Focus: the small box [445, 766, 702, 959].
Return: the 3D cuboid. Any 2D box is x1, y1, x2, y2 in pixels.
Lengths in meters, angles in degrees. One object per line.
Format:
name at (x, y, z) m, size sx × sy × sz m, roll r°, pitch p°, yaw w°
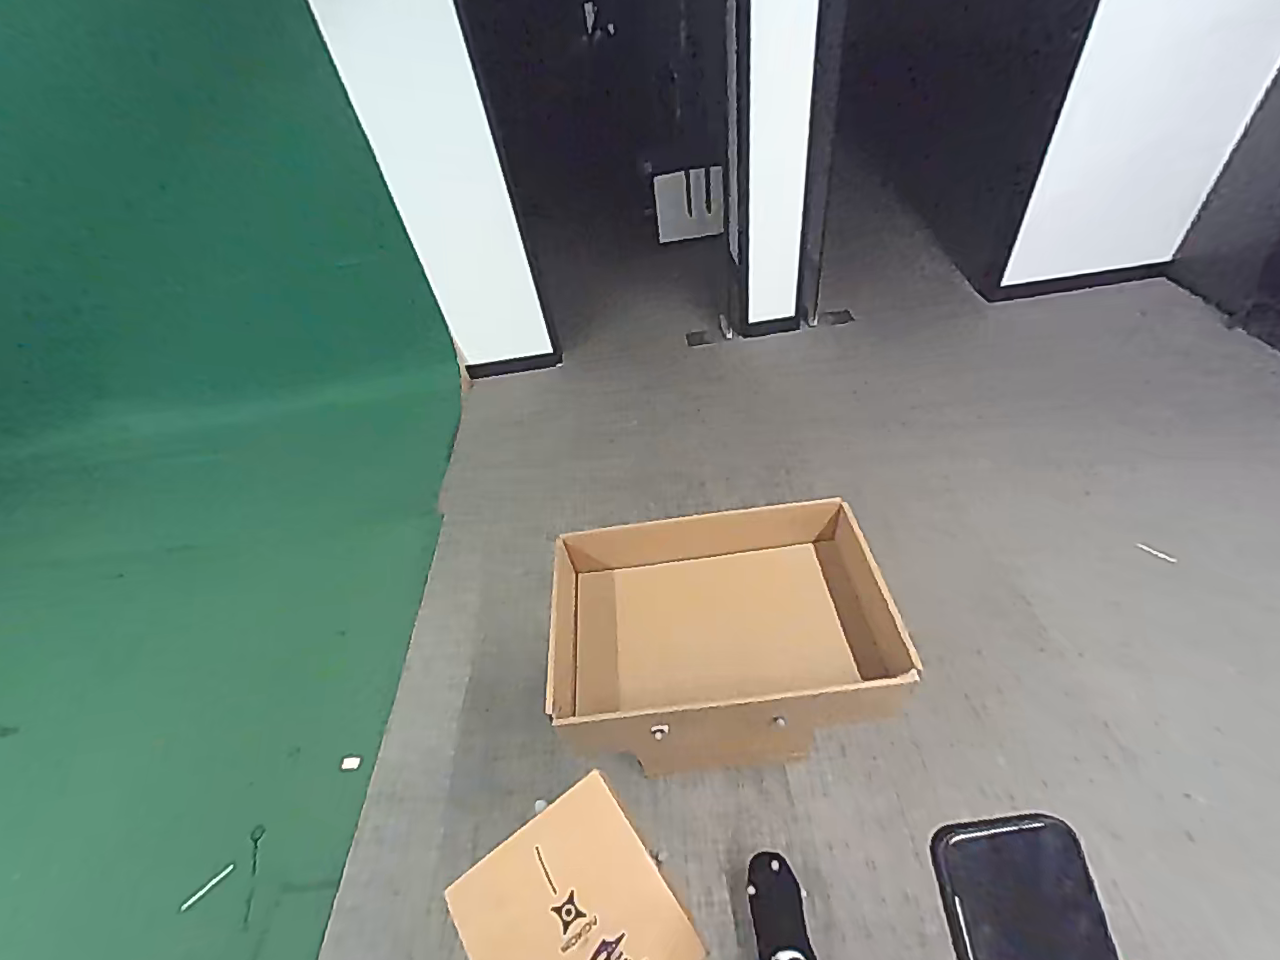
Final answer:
small box at (-0.060, 0.417, 0.541) m, size 0.168 × 0.176 × 0.179 m, roll -33°, pitch 65°, yaw -18°
